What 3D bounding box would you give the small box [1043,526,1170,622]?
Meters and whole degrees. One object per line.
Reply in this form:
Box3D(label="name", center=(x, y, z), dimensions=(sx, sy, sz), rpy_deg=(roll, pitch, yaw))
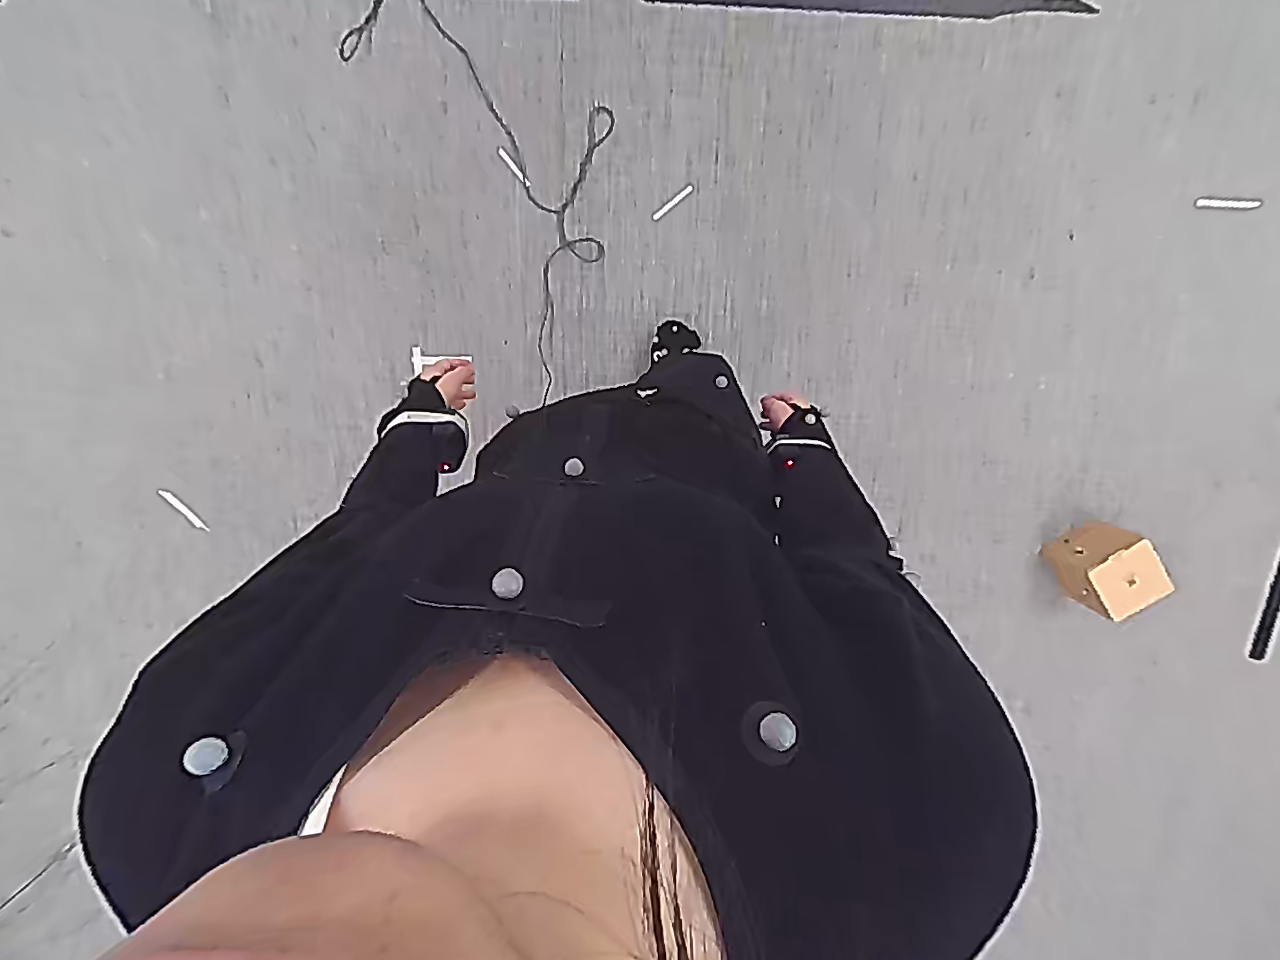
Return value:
Box3D(label="small box", center=(1.243, 0.242, 1.456), dimensions=(0.168, 0.176, 0.179), rpy_deg=(-35, 101, 9))
